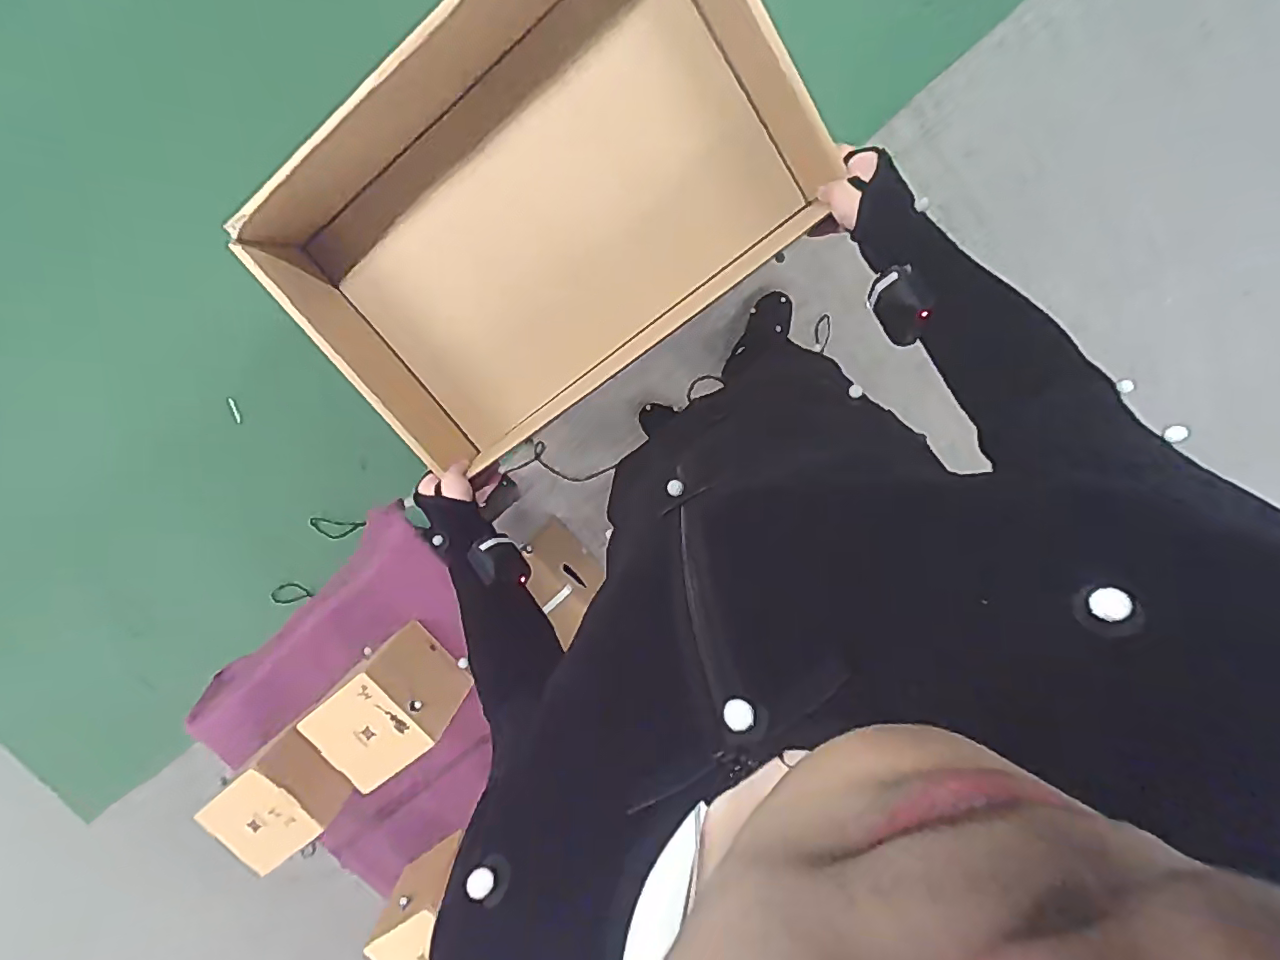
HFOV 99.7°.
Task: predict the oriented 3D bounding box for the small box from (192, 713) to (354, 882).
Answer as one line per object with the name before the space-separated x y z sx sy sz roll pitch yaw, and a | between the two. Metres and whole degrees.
small box | -0.646 0.574 0.996 0.179 0.176 0.168 -39 99 11

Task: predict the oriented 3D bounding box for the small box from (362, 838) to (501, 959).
small box | -0.379 0.849 1.042 0.179 0.176 0.168 -38 97 11

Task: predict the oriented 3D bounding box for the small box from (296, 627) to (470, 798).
small box | -0.431 0.393 0.936 0.179 0.176 0.168 -38 99 14

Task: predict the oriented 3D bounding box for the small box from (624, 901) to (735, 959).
small box | 0.075 0.957 1.025 0.179 0.176 0.168 -41 96 14
